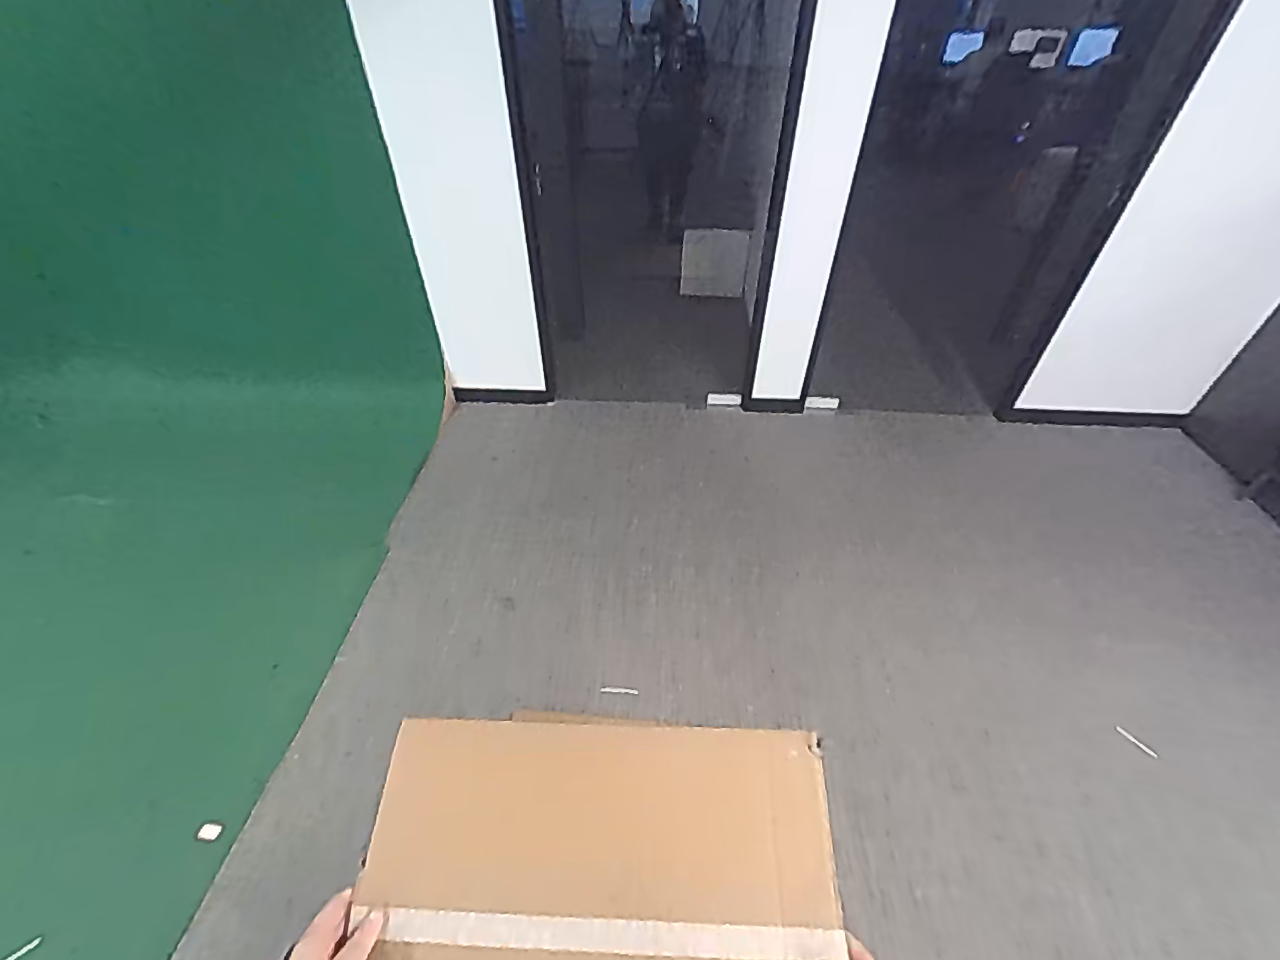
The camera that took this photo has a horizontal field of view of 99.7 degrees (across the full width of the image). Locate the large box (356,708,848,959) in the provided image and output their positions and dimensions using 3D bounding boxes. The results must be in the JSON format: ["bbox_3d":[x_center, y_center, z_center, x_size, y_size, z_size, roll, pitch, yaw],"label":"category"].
[{"bbox_3d":[-0.029,0.438,0.575,0.408,0.320,0.320,1,59,2],"label":"large box"}]
